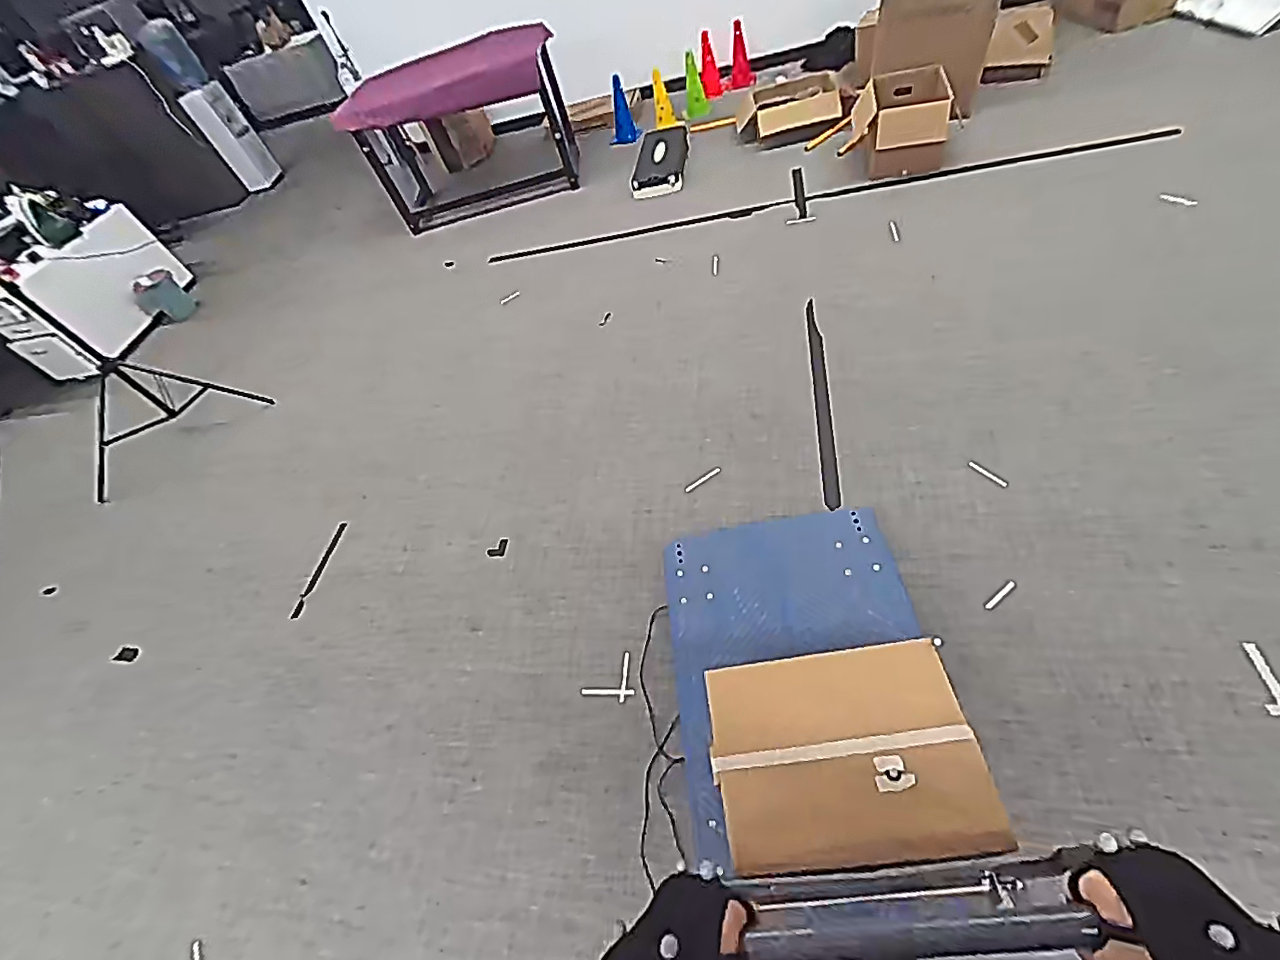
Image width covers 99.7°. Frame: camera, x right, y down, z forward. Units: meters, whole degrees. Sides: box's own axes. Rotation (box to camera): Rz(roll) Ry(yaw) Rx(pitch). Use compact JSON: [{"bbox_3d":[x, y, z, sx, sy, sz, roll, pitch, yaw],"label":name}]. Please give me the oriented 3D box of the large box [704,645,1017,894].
[{"bbox_3d":[0.351,0.533,0.978,0.408,0.320,0.320,-11,52,7],"label":"large box"}]
